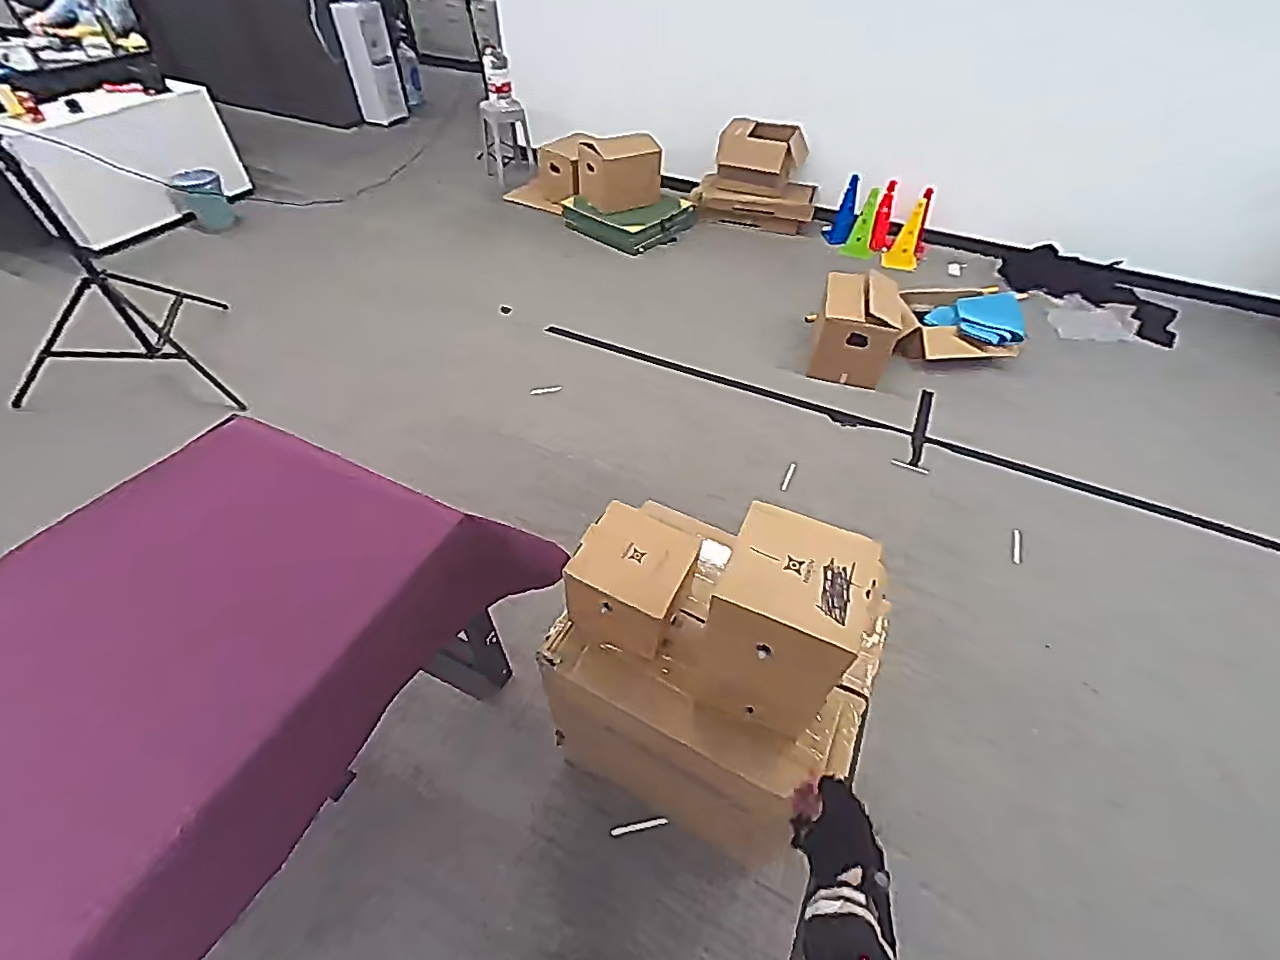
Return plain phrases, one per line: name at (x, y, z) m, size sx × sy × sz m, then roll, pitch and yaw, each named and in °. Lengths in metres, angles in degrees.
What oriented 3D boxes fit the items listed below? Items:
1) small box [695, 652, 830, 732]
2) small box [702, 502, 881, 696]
small box at (0.197, 0.273, 0.853) m, size 0.179 × 0.176 × 0.168 m, roll 16°, pitch 50°, yaw 13°
small box at (0.196, 0.164, 0.728) m, size 0.179 × 0.176 × 0.168 m, roll 19°, pitch 51°, yaw 17°
